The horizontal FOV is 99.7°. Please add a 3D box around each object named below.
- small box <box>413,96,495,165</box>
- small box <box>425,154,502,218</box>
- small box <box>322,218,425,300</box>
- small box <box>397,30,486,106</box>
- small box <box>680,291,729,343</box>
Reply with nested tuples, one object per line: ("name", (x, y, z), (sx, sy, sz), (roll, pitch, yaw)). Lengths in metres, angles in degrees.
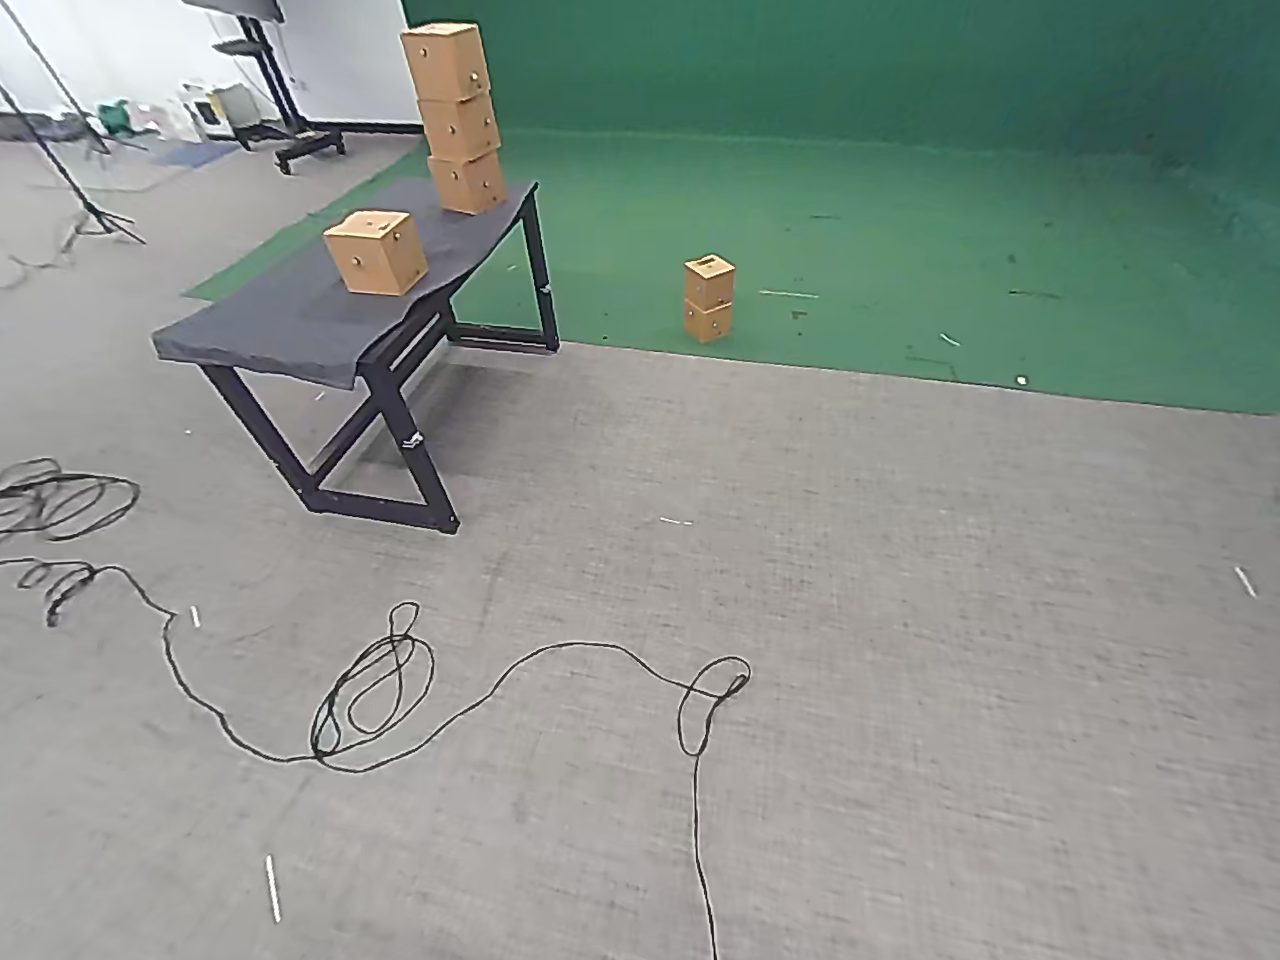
("small box", (-0.615, -1.176, 1.813), (0.179, 0.176, 0.168), (18, 50, 22))
("small box", (-0.620, -1.053, 1.921), (0.179, 0.176, 0.168), (23, 52, 25))
("small box", (-0.750, -0.630, 1.542), (0.179, 0.176, 0.168), (7, 48, 11))
("small box", (-0.615, -1.292, 1.697), (0.179, 0.176, 0.168), (14, 49, 16))
("small box", (0.312, -0.785, 2.630), (0.168, 0.176, 0.179), (-26, 51, -19))
